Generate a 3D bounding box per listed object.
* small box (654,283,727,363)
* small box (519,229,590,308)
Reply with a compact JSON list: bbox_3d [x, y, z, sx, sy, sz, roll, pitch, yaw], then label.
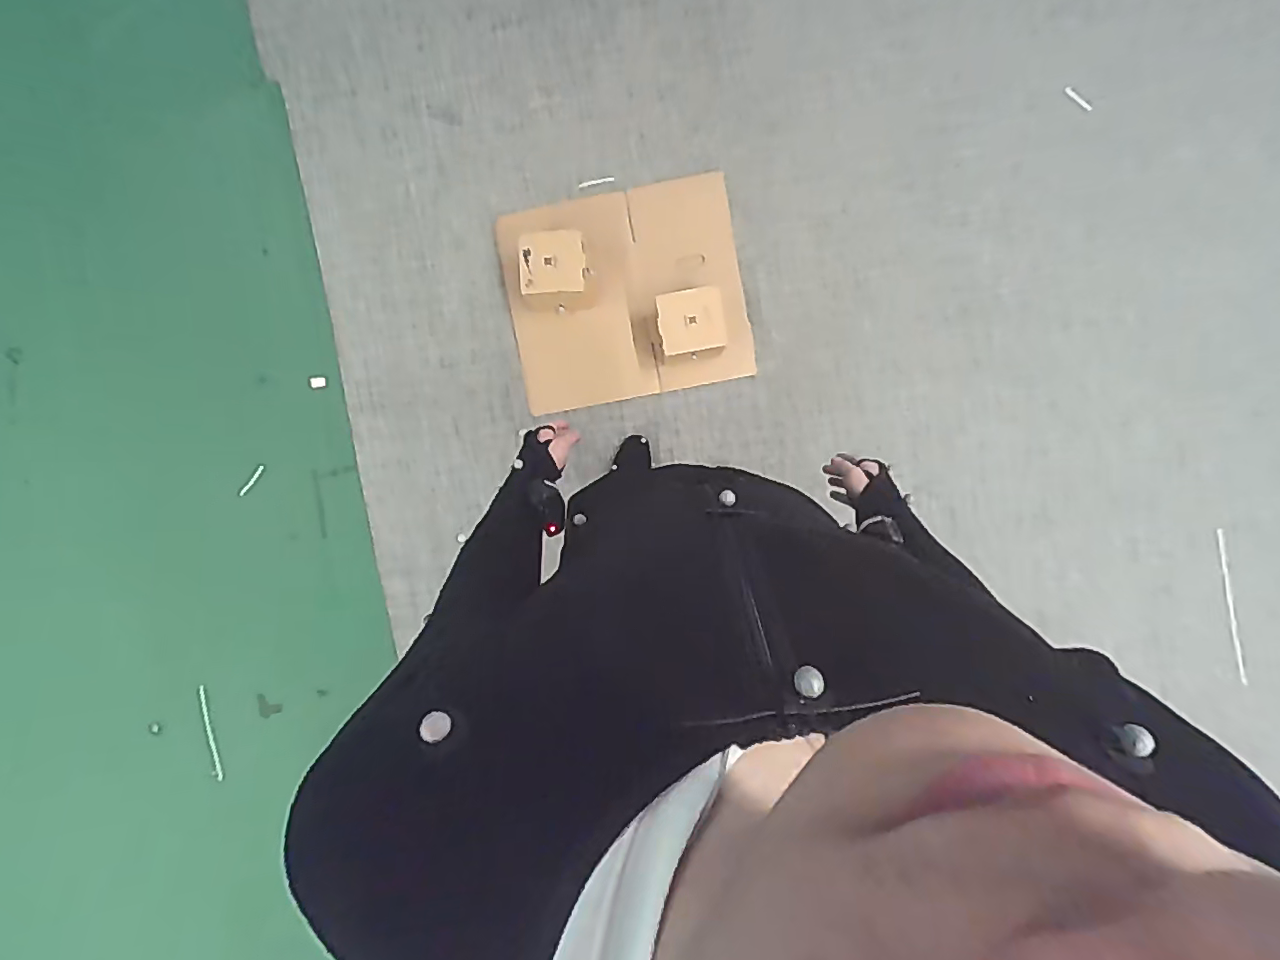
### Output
[{"bbox_3d":[0.140,-0.435,1.523,0.179,0.176,0.168,-9,93,2],"label":"small box"},{"bbox_3d":[-0.234,-0.589,1.523,0.179,0.176,0.168,-2,92,1],"label":"small box"}]
